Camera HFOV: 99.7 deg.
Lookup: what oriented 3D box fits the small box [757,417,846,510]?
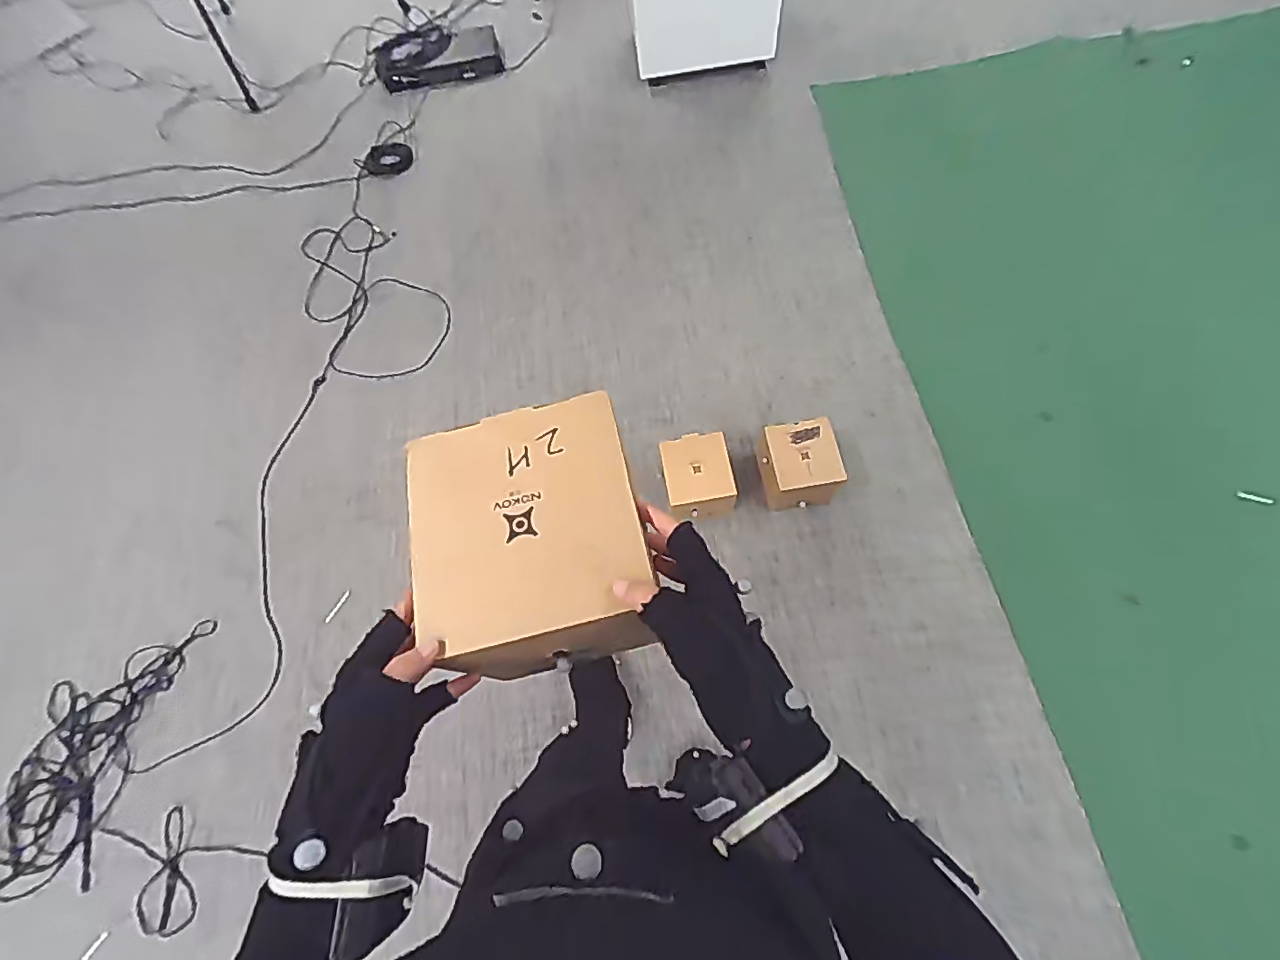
[{"bbox_3d":[0.406,-0.038,1.394,0.168,0.176,0.179,-10,69,1],"label":"small box"}]

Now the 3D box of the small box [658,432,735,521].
[{"bbox_3d":[0.146,-0.001,1.402,0.168,0.176,0.179,-10,68,1],"label":"small box"}]
